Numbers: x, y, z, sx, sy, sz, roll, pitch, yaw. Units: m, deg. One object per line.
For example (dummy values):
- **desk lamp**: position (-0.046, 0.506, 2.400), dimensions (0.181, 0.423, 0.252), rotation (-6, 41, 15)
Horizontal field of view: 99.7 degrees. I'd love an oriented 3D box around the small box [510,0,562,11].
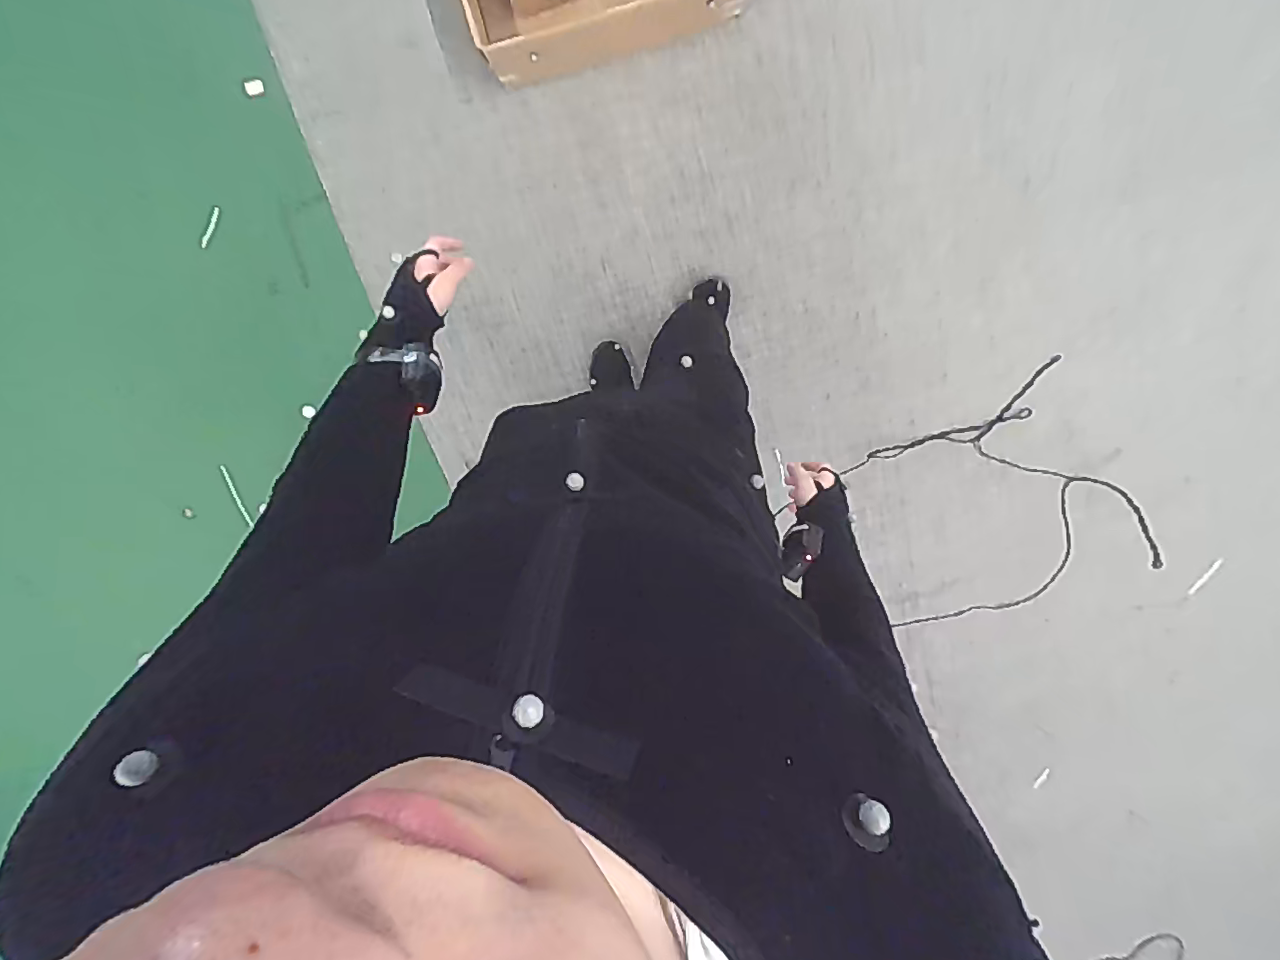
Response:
- **small box**: position (-0.228, -1.139, 1.138), dimensions (0.168, 0.176, 0.179), rotation (-15, 107, 4)
